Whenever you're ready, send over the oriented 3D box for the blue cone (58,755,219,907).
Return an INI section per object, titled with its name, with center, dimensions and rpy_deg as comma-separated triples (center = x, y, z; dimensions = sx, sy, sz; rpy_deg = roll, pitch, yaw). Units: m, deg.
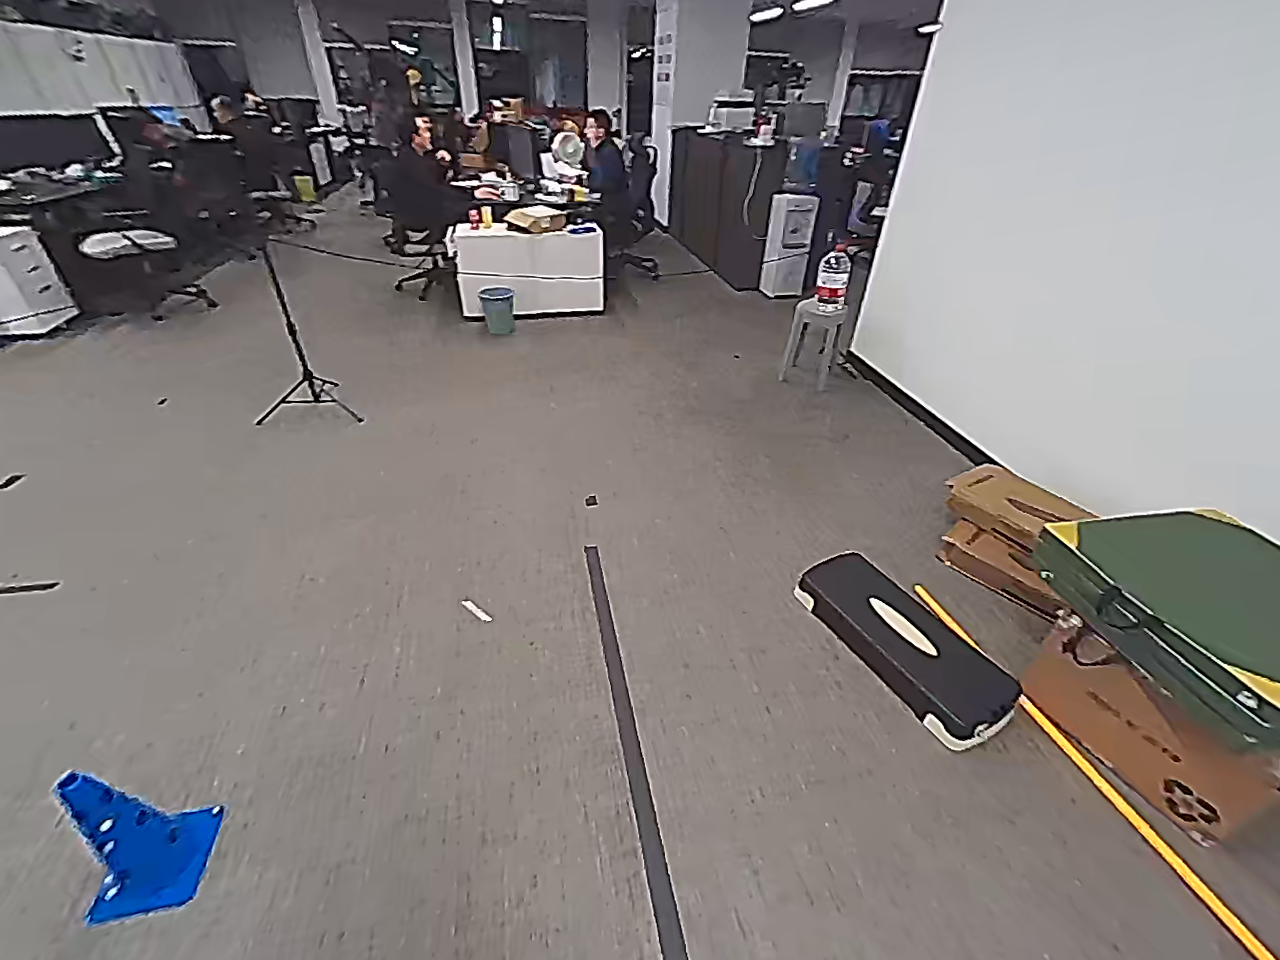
[blue cone]
center = -1.062, 0.687, 1.102
dimensions = 0.193, 0.380, 0.192
rpy_deg = -4, 35, -9
